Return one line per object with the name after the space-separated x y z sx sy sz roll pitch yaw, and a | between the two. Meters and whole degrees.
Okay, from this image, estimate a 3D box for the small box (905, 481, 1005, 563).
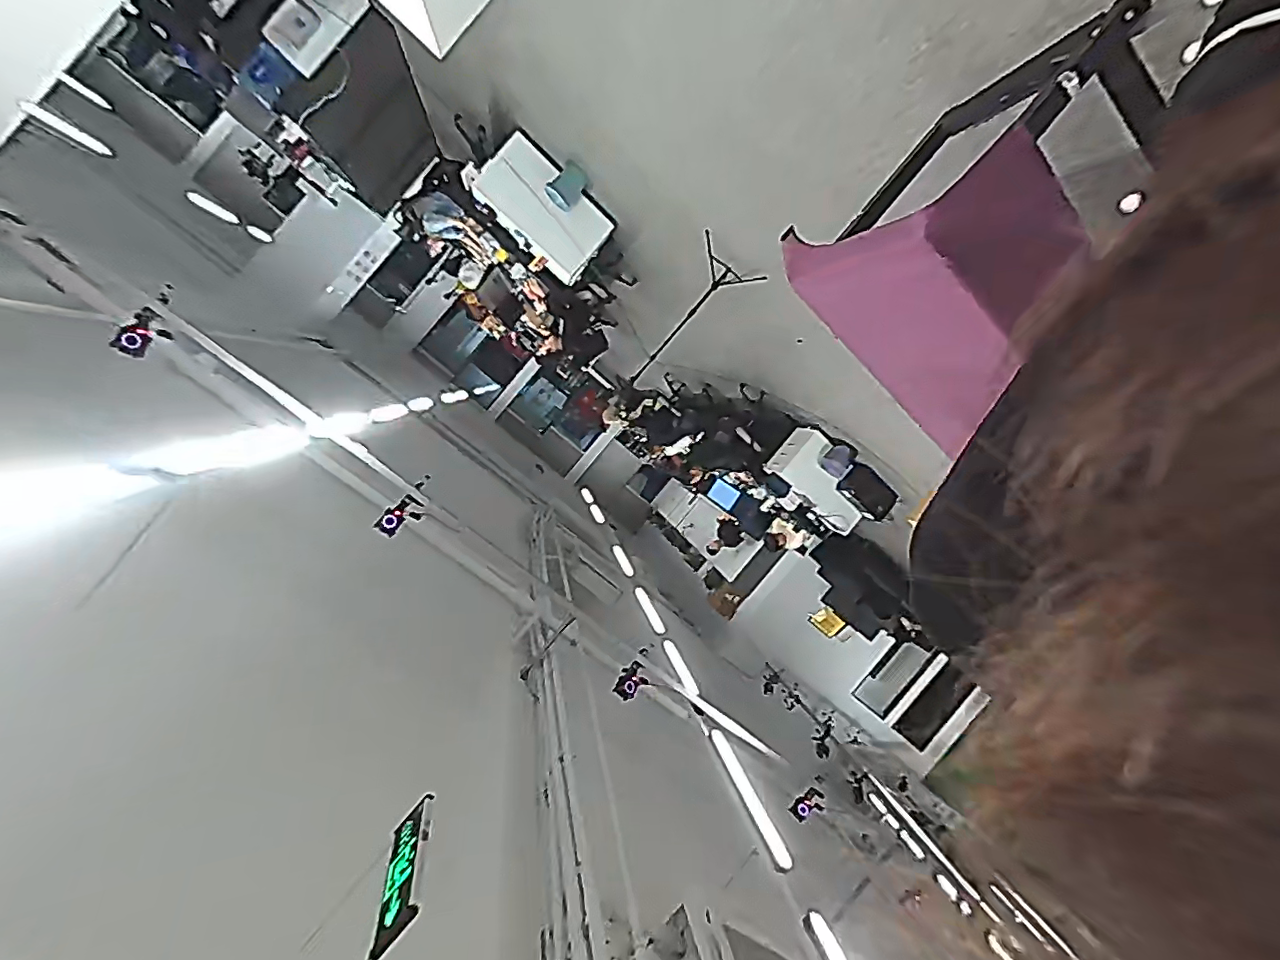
0.962 0.120 1.642 0.168 0.176 0.179 41 -179 -12 | small box

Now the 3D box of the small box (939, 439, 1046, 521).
1.067 -0.006 1.641 0.168 0.176 0.179 40 180 -16 | small box
